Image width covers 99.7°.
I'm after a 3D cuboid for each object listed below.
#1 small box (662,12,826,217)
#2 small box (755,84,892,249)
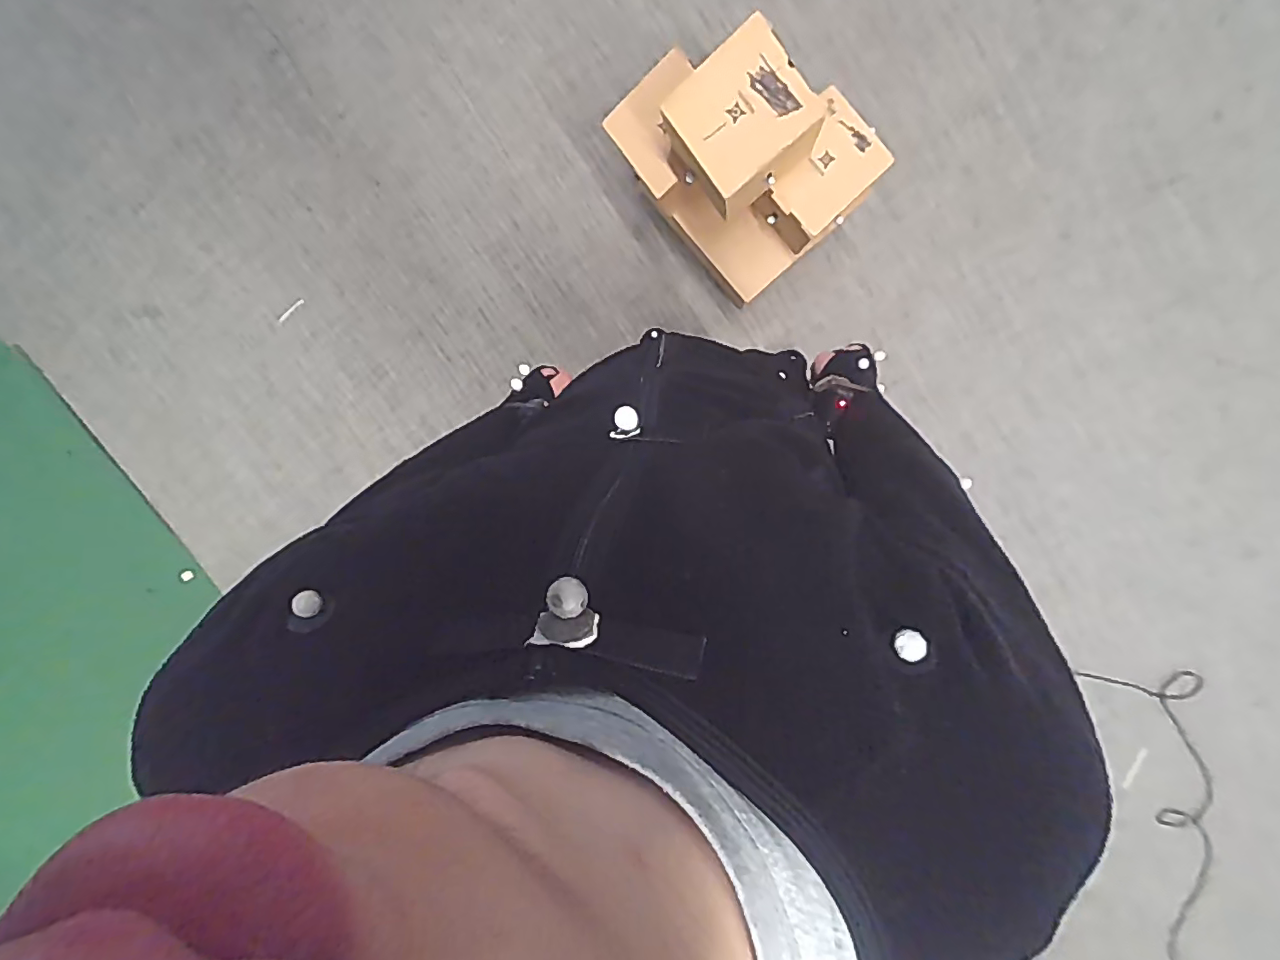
[{"bbox_3d":[0.158,-0.546,0.839,0.179,0.176,0.168,-36,95,17],"label":"small box"},{"bbox_3d":[0.316,-0.551,0.984,0.179,0.176,0.168,-41,95,15],"label":"small box"}]
